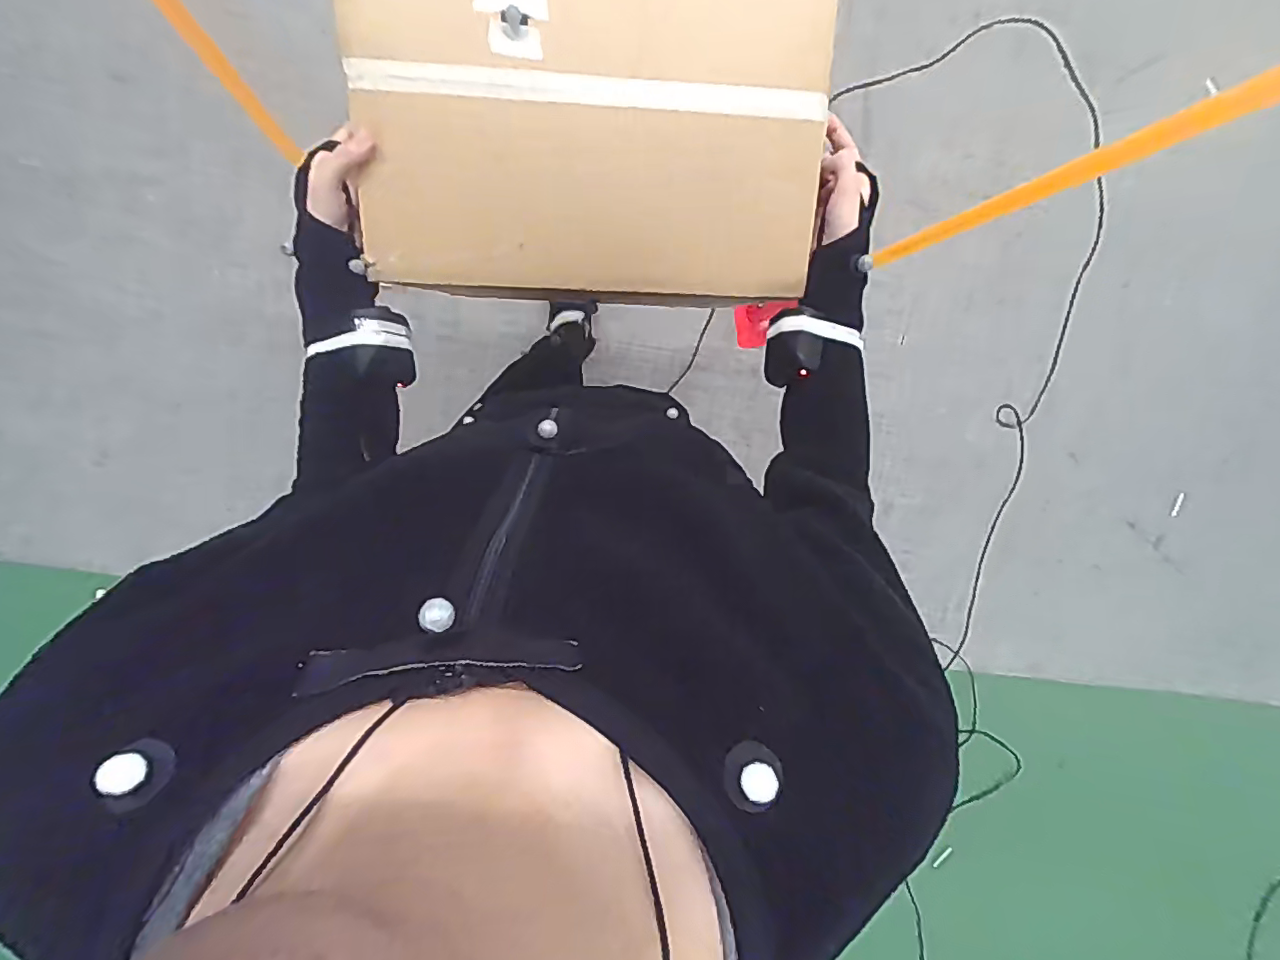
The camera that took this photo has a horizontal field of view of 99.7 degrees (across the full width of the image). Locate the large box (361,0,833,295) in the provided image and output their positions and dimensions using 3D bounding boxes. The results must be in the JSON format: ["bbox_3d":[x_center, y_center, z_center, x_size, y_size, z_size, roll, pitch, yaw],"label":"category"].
[{"bbox_3d":[-0.043,-0.379,0.614,0.408,0.320,0.320,1,106,-5],"label":"large box"}]
